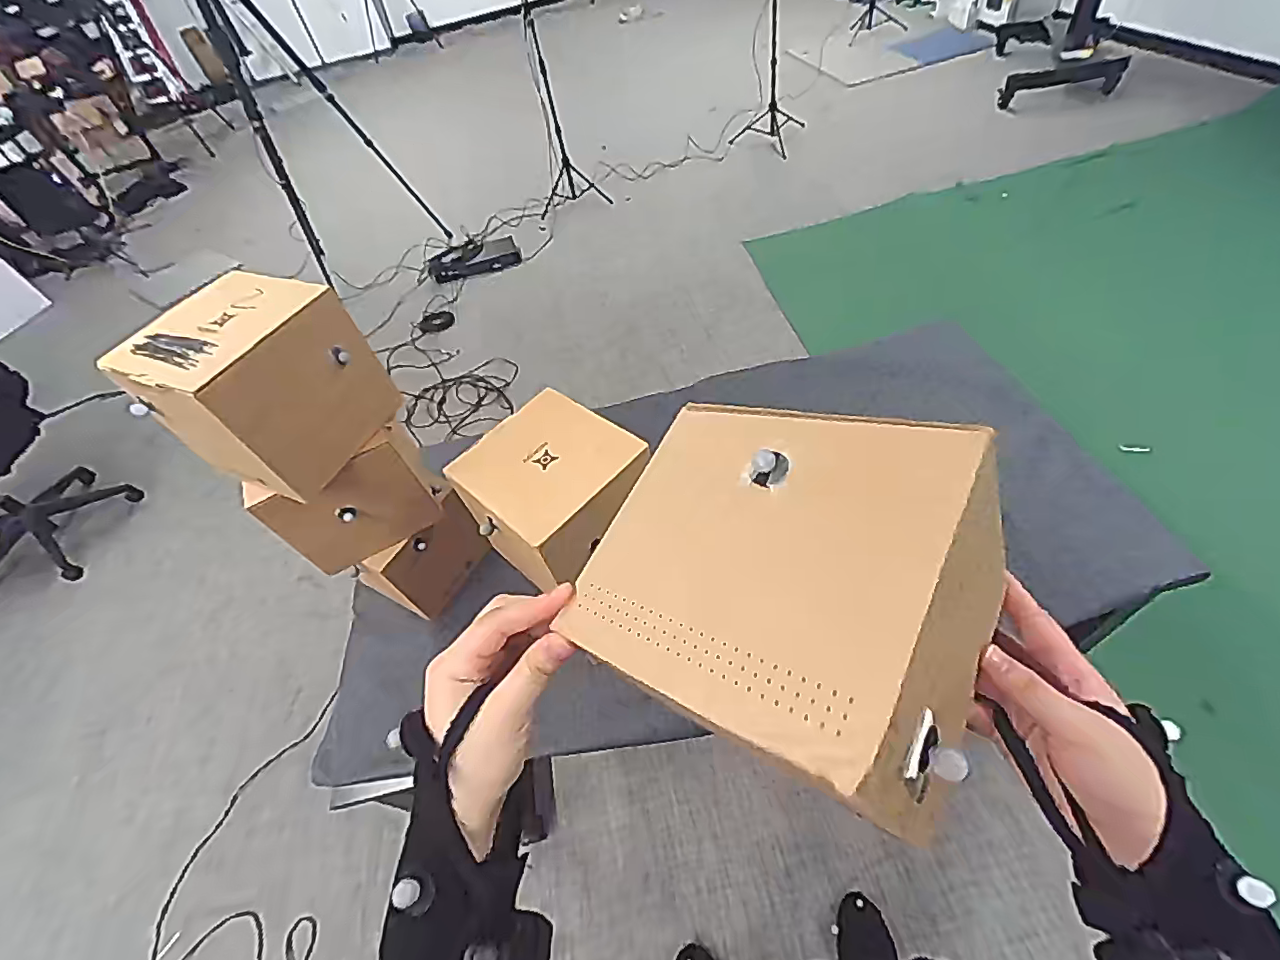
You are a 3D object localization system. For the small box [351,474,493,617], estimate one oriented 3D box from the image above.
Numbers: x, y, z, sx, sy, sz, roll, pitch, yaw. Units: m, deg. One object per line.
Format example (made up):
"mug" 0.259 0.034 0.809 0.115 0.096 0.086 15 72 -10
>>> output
"small box" -0.374 0.096 0.876 0.179 0.176 0.168 19 58 24

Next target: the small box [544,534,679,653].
"small box" -0.061 0.126 0.783 0.168 0.176 0.179 -34 52 -16

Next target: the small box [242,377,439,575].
"small box" -0.400 -0.003 0.746 0.179 0.176 0.168 -29 52 -11

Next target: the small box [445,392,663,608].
"small box" -0.092 0.030 0.655 0.179 0.176 0.168 31 64 32
